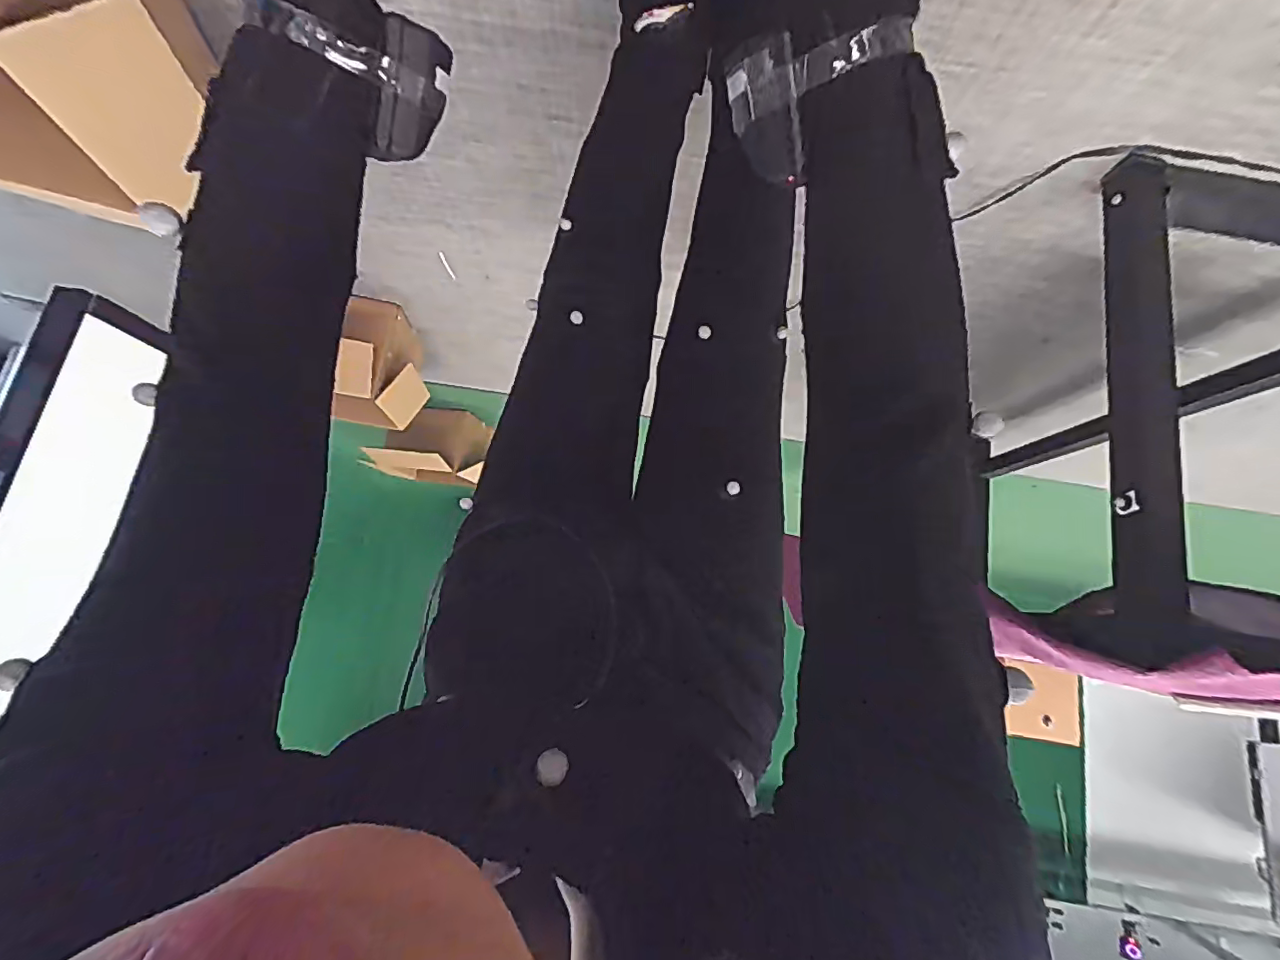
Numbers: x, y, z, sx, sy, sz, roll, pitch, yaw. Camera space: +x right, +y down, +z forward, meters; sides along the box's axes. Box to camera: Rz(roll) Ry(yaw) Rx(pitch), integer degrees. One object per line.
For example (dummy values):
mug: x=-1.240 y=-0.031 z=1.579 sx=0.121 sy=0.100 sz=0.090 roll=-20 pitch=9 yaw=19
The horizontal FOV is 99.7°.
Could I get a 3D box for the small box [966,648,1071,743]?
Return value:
small box: x=0.899 y=0.515 z=1.312 sx=0.179 sy=0.176 sz=0.168 roll=10 pitch=167 yaw=-1
